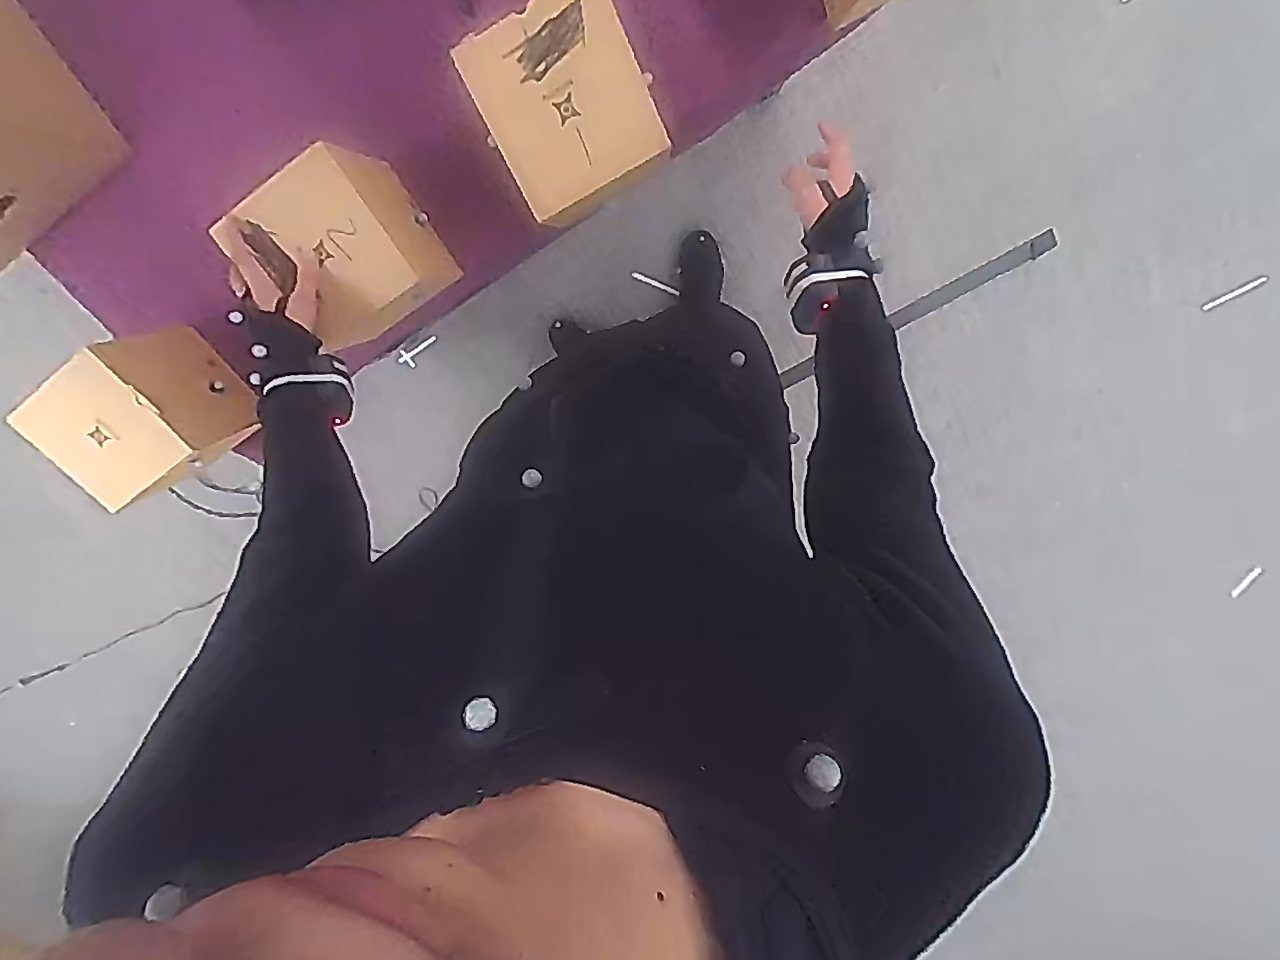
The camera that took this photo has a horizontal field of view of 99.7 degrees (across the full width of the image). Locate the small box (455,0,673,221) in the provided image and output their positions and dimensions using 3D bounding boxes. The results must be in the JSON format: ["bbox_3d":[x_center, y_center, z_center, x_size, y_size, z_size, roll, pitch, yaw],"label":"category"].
[{"bbox_3d":[-0.074,-0.421,0.622,0.168,0.176,0.179,-25,111,12],"label":"small box"}]

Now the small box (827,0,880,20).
[{"bbox_3d":[0.264,-0.614,0.528,0.168,0.176,0.179,-23,111,12],"label":"small box"}]

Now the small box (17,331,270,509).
[{"bbox_3d":[-0.693,-0.092,0.780,0.179,0.176,0.168,-31,109,13],"label":"small box"}]
